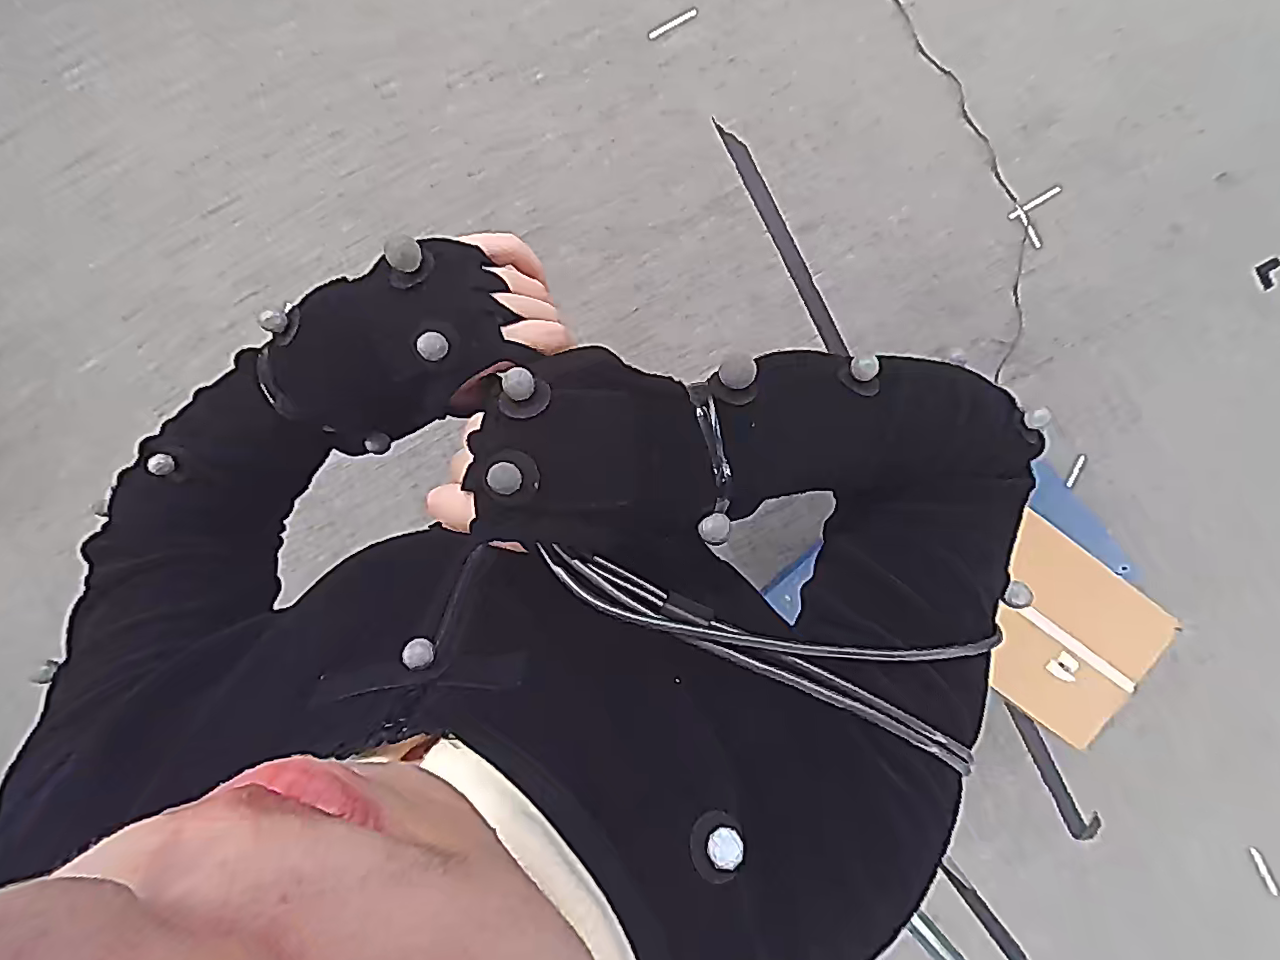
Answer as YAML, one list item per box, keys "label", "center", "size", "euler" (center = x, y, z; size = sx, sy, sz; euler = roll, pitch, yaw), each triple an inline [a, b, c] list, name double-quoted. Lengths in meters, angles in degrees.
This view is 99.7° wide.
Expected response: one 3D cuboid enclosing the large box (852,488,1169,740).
- label: "large box"
  center: [0.758, 0.258, 1.175]
  size: [0.408, 0.320, 0.320]
  euler: [37, 93, -3]
